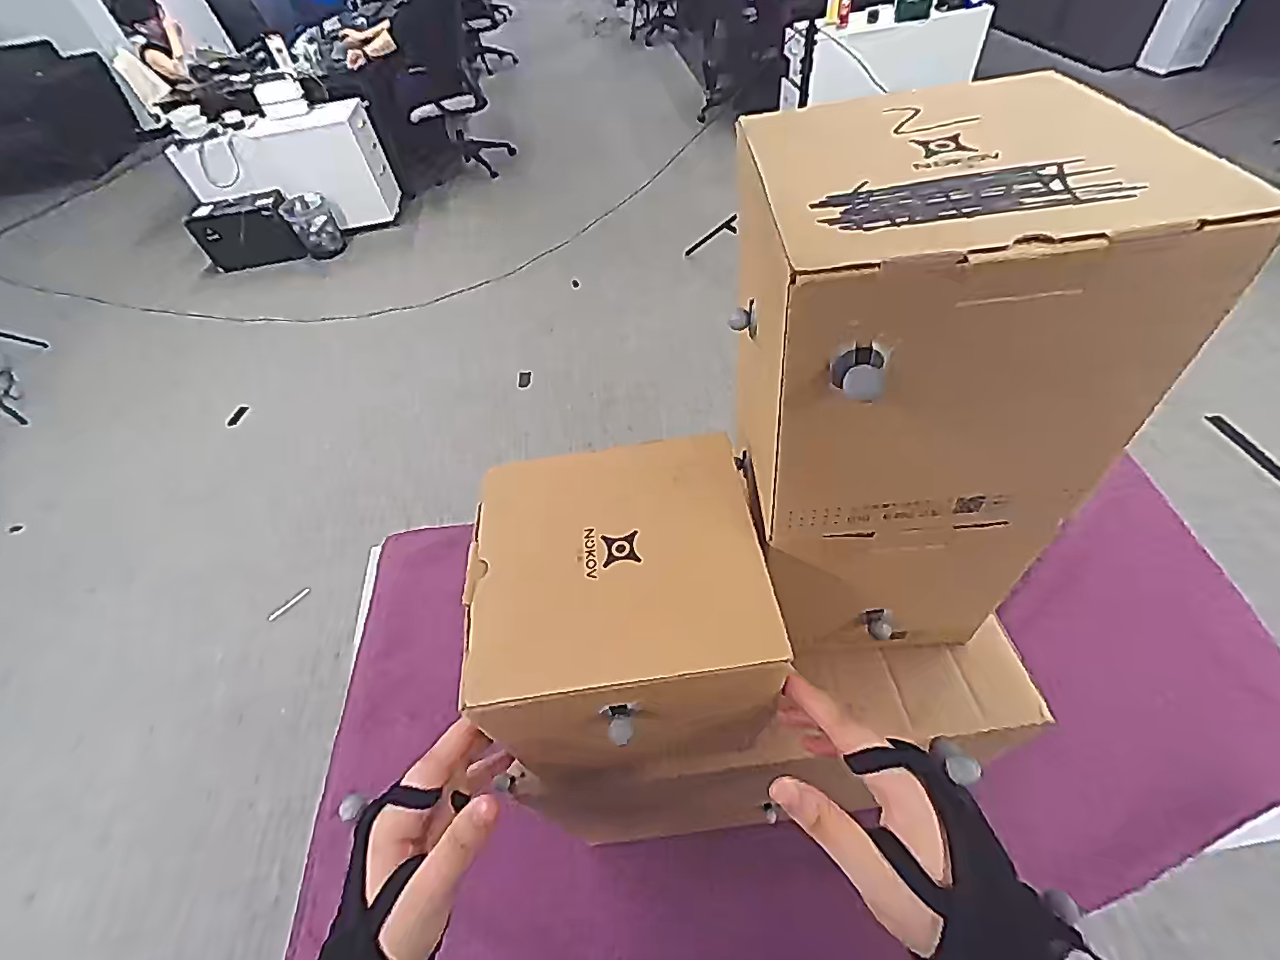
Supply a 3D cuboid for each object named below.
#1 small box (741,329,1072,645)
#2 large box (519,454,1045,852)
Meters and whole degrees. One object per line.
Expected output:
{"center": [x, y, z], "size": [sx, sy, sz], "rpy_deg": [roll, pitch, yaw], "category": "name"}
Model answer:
{"center": [0.171, 0.009, 0.422], "size": [0.168, 0.176, 0.179], "rpy_deg": [-6, 49, 6], "category": "small box"}
{"center": [0.106, 0.188, 0.606], "size": [0.408, 0.320, 0.320], "rpy_deg": [-10, 48, 1], "category": "large box"}
